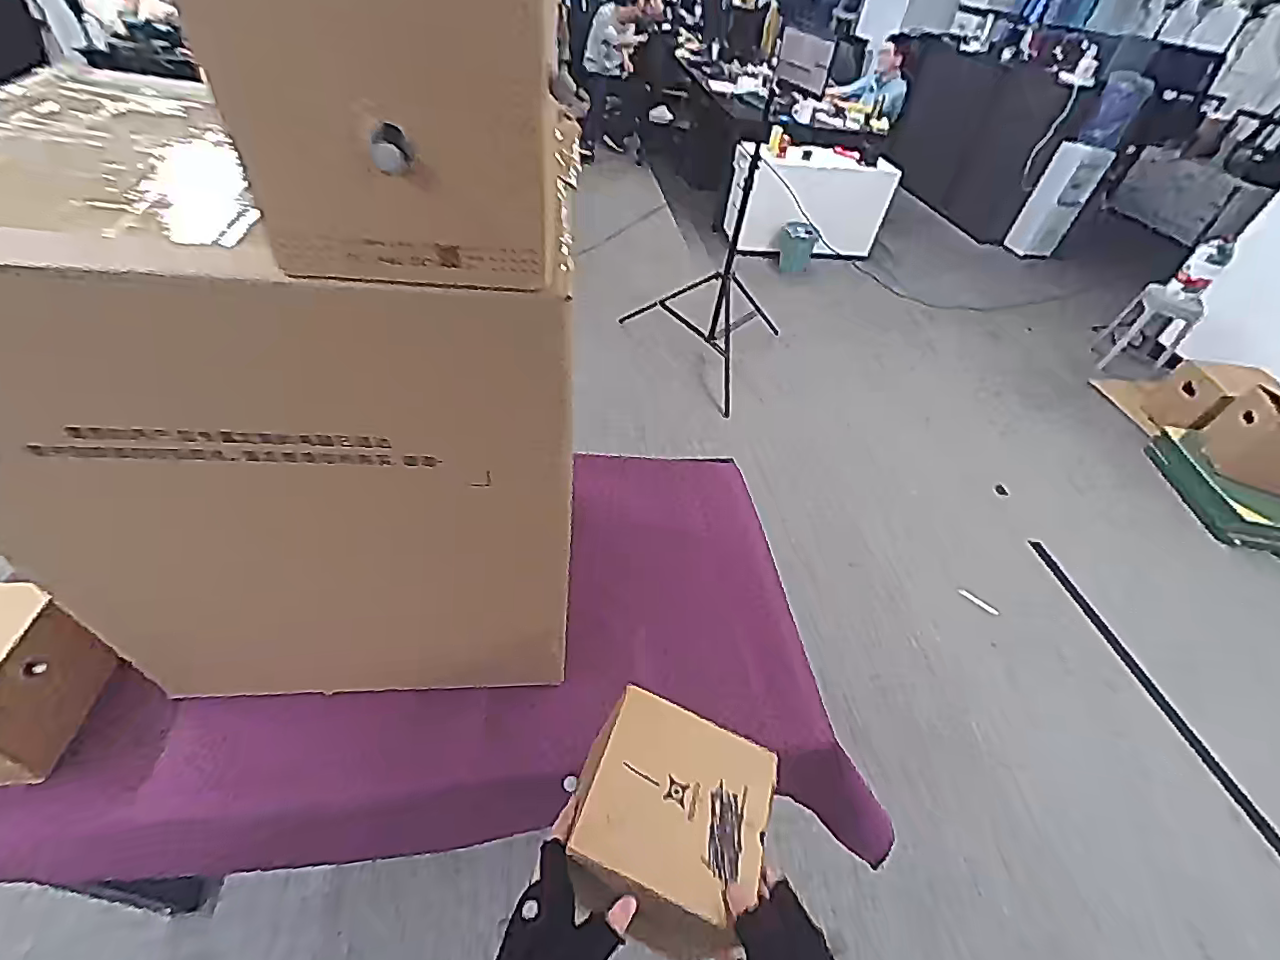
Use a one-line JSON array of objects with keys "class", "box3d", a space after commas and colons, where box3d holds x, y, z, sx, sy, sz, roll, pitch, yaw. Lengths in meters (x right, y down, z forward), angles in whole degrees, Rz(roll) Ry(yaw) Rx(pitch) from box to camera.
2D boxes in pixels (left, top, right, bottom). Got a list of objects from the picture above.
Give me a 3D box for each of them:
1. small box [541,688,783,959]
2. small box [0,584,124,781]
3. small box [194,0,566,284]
[{"class": "small box", "box3d": [0.021, 0.357, 0.558, 0.179, 0.176, 0.168, 26, 40, 4]}, {"class": "small box", "box3d": [-0.780, 0.243, 0.641, 0.168, 0.176, 0.179, 3, 42, -11]}, {"class": "small box", "box3d": [-0.133, -0.244, 0.349, 0.168, 0.176, 0.179, 1, 47, -8]}]
